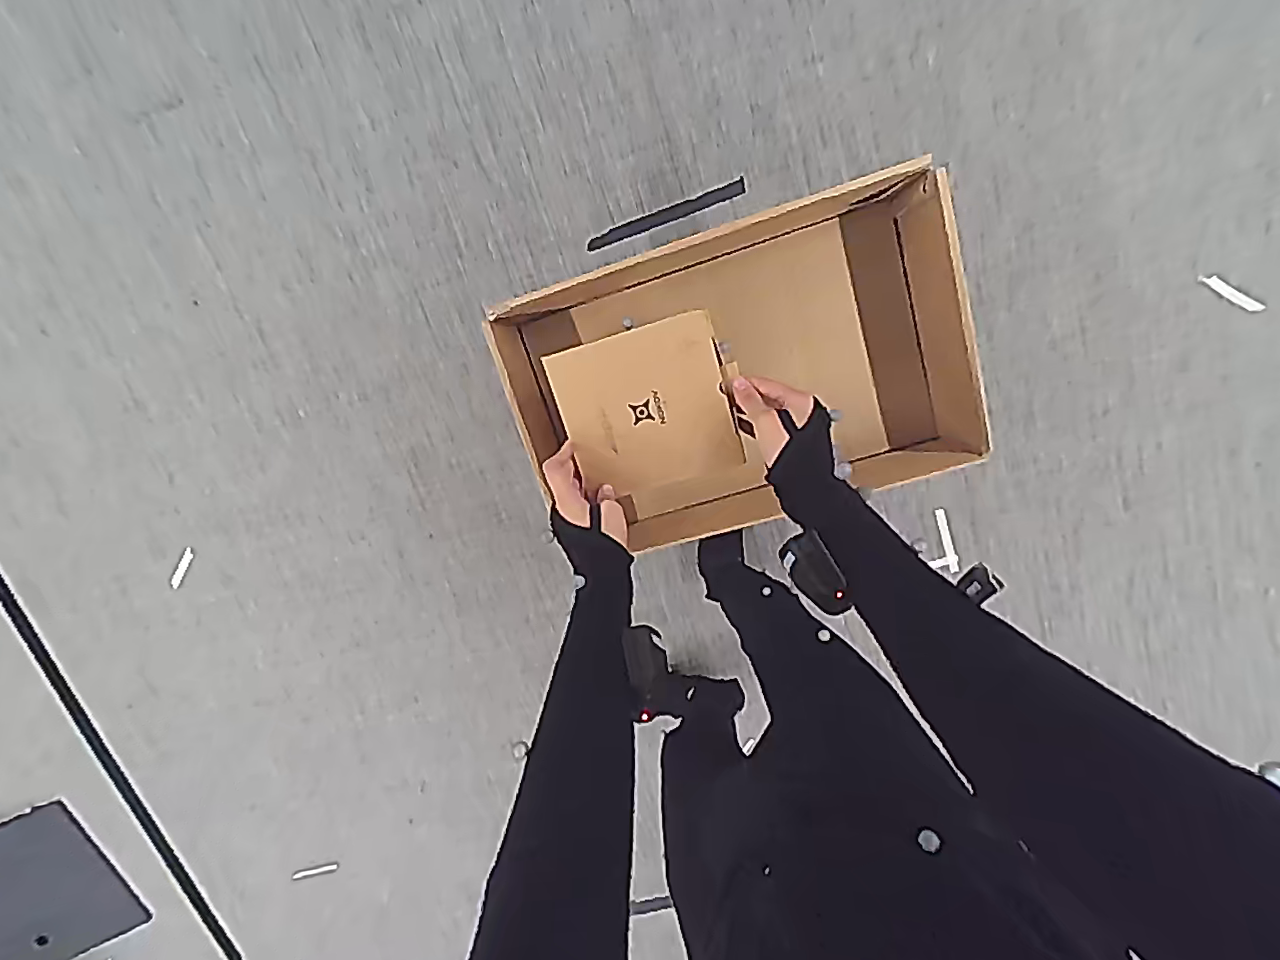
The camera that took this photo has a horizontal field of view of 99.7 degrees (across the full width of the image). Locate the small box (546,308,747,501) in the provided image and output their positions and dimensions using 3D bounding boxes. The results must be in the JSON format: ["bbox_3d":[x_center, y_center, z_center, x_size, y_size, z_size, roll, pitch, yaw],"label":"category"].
[{"bbox_3d":[0.012,-0.094,0.632,0.179,0.176,0.168,-15,102,8],"label":"small box"}]
